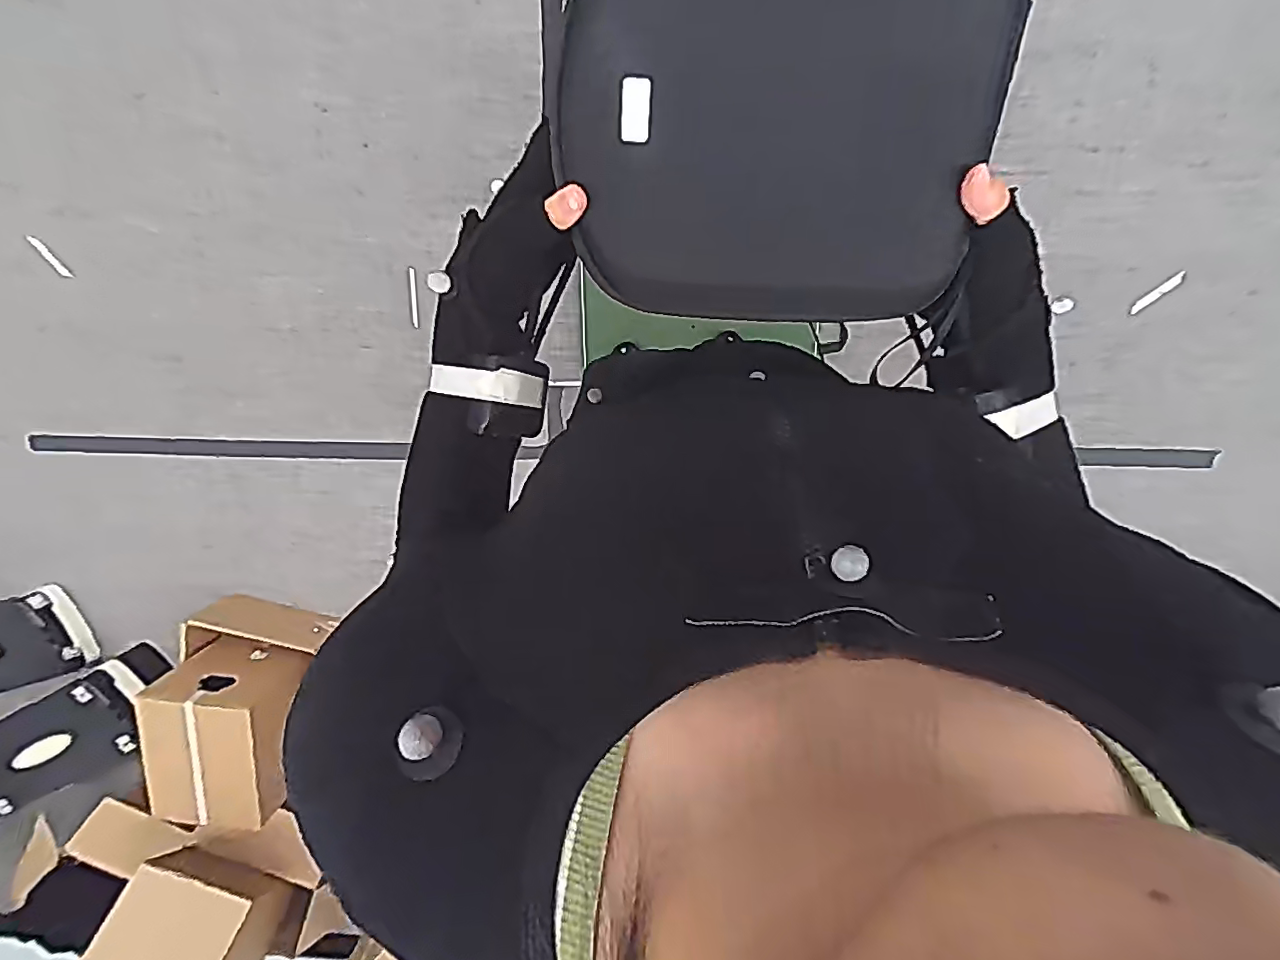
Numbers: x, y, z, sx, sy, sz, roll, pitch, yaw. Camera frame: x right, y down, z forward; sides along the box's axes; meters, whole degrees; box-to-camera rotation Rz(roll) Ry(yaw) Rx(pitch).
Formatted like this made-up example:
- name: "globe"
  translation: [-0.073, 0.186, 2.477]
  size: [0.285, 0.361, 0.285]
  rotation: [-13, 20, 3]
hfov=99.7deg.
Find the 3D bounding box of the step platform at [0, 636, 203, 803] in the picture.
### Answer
- name: "step platform"
  translation: [-1.828, 0.788, 1.774]
  size: [0.684, 0.204, 0.286]
  rotation: [-27, 102, 9]
